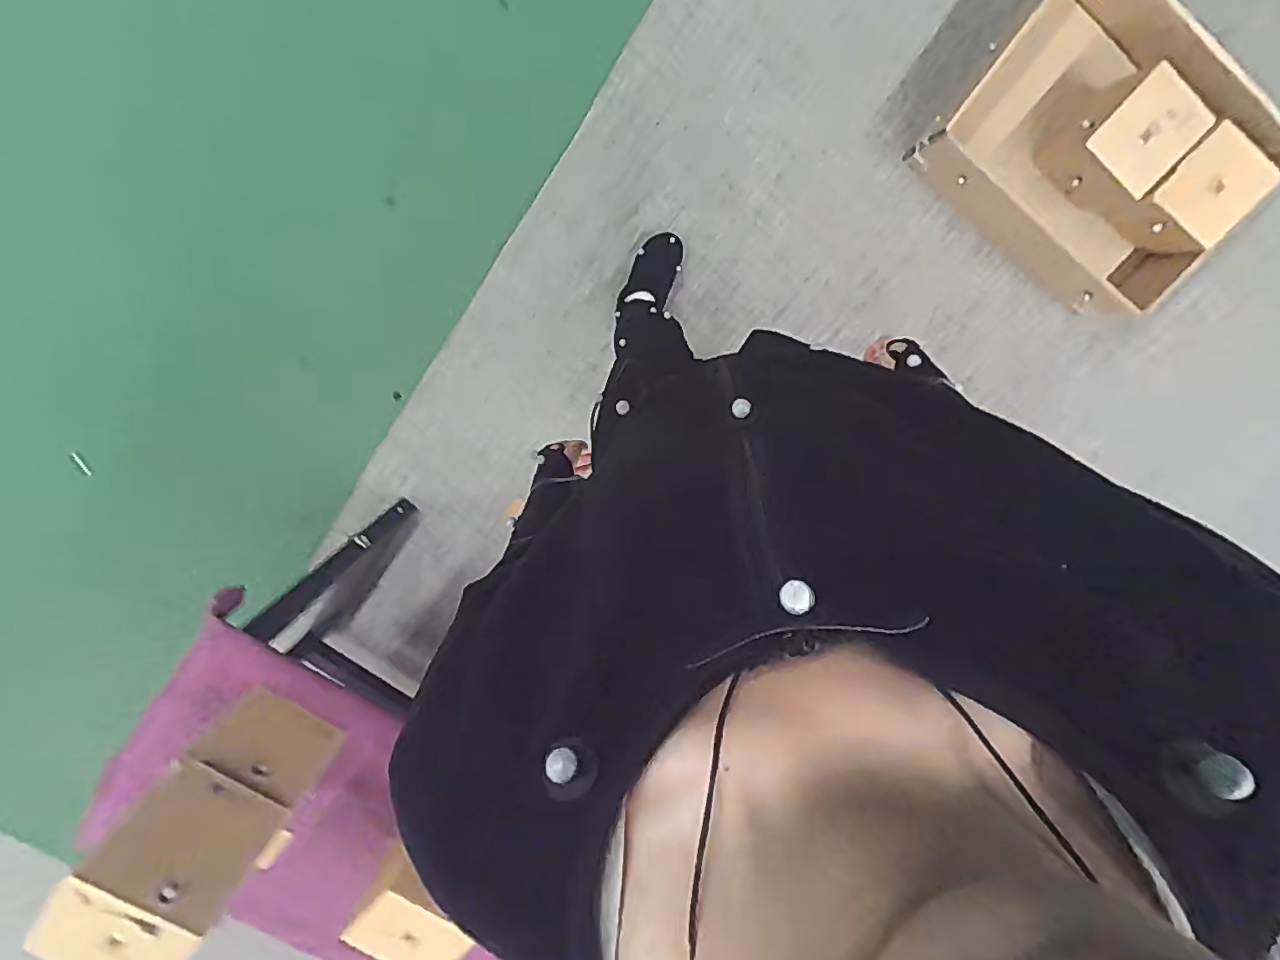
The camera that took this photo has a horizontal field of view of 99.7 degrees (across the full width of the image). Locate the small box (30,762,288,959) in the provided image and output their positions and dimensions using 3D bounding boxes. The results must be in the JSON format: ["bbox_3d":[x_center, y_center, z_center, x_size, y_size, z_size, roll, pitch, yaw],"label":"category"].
[{"bbox_3d":[-0.616,0.523,0.716,0.168,0.176,0.179,37,107,-11],"label":"small box"}]

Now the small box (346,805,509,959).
[{"bbox_3d":[-0.356,0.715,0.944,0.179,0.176,0.168,38,107,-9],"label":"small box"}]

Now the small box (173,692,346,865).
[{"bbox_3d":[-0.622,0.482,0.876,0.179,0.176,0.168,35,106,-9],"label":"small box"}]
